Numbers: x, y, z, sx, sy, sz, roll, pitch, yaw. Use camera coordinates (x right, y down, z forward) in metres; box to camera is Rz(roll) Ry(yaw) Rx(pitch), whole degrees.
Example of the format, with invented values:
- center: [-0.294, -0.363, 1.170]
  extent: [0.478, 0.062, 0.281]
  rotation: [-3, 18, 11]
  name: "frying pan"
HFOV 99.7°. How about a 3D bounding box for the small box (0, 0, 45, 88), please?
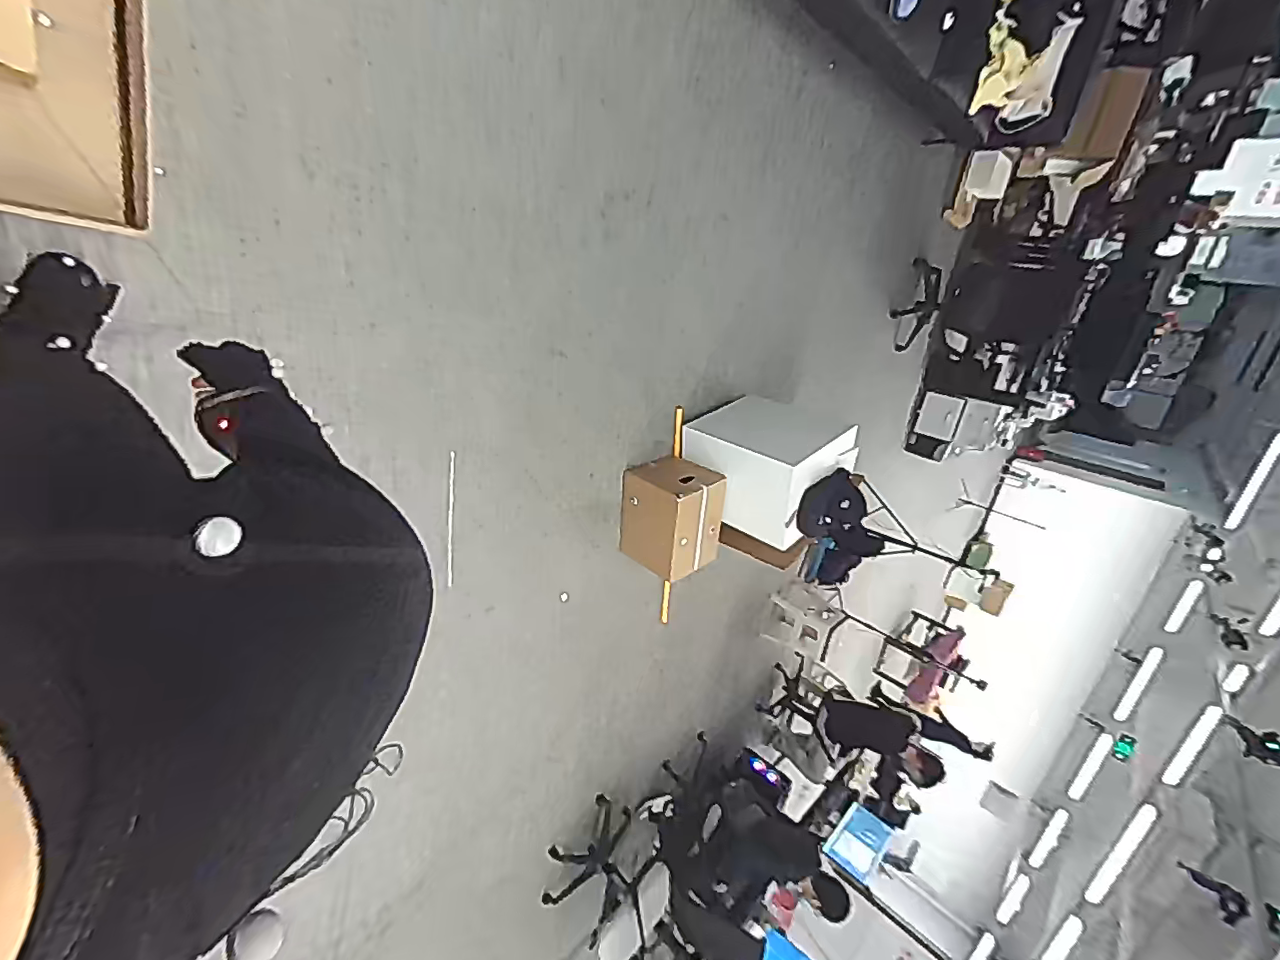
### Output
- center: [-0.924, -0.660, 0.717]
  extent: [0.168, 0.176, 0.179]
  rotation: [-7, 115, -48]
  name: "small box"
